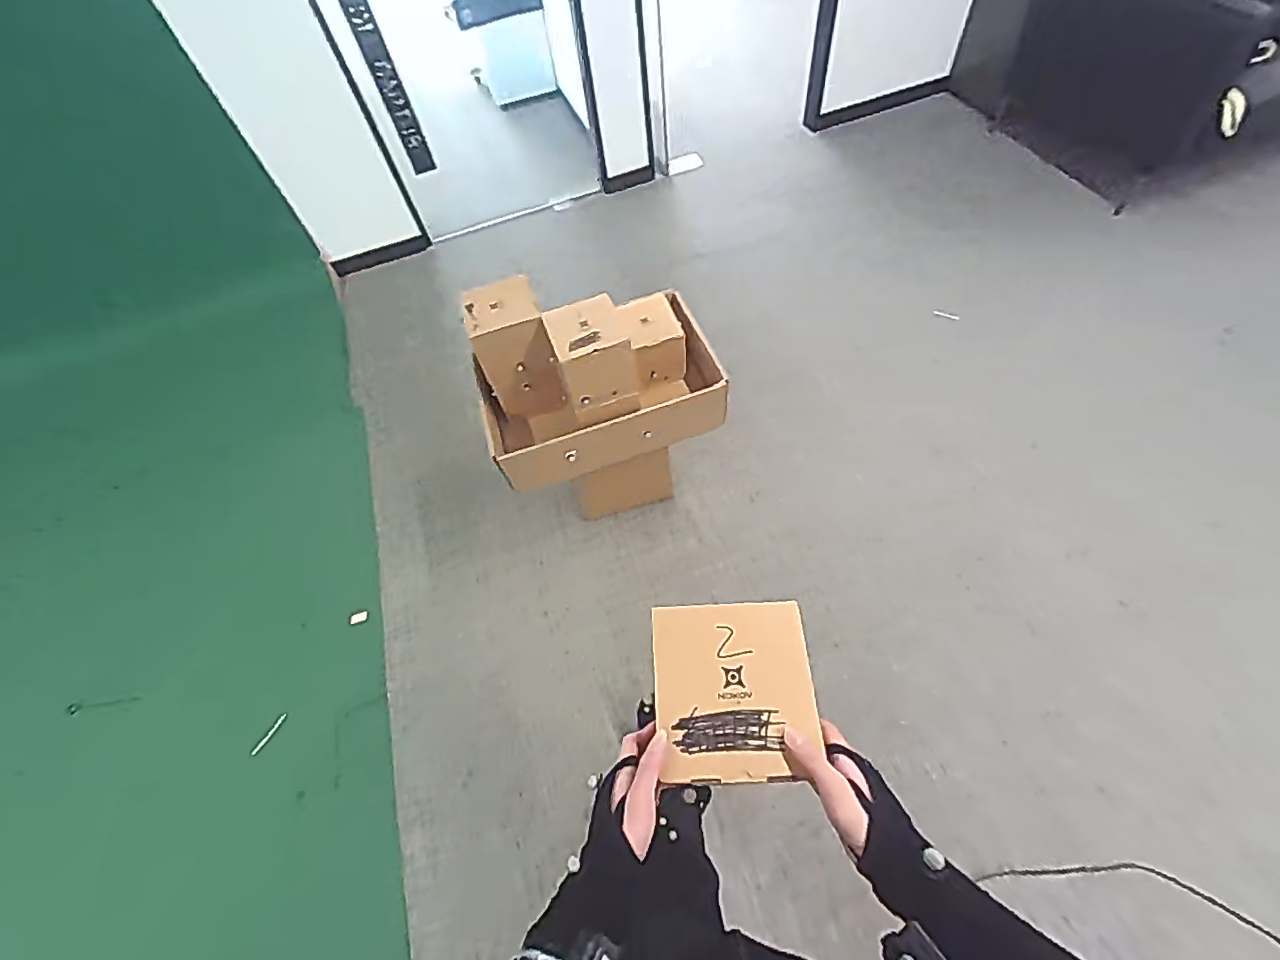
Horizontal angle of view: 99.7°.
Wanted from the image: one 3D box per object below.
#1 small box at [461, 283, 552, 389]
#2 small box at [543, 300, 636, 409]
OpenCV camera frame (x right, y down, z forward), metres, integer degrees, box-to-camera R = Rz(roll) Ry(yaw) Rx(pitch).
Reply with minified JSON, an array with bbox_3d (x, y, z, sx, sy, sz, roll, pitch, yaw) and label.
[{"bbox_3d":[-0.327,-0.358,1.355,0.179,0.176,0.168,-18,58,-6],"label":"small box"},{"bbox_3d":[-0.115,-0.289,1.285,0.168,0.176,0.179,-19,57,-6],"label":"small box"}]
